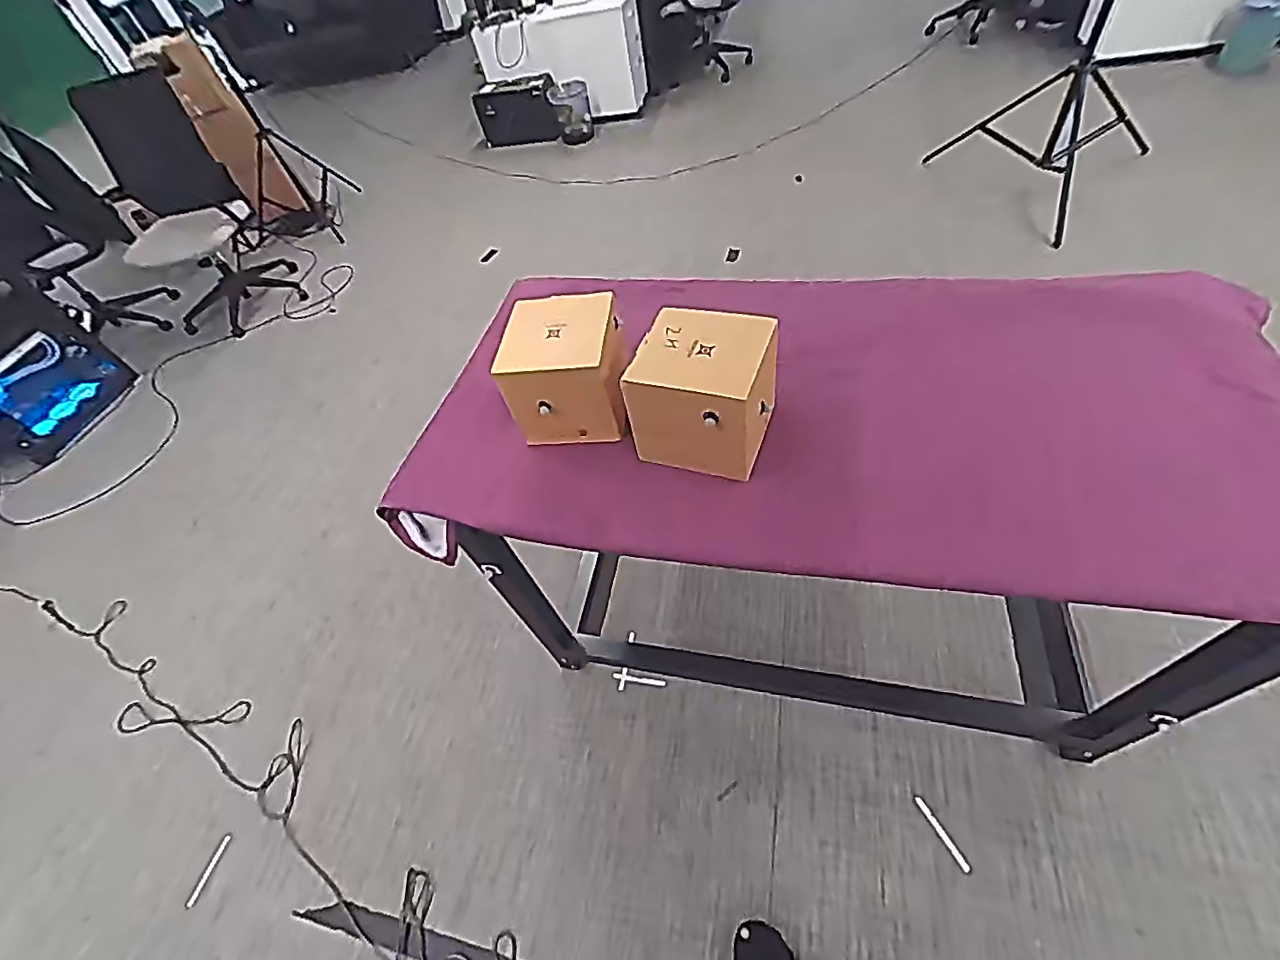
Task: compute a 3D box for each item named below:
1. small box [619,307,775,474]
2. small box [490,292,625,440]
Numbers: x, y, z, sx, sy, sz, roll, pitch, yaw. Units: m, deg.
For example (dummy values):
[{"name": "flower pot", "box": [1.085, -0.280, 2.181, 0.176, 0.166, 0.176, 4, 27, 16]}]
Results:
[{"name": "small box", "box": [0.092, -0.129, 0.800, 0.179, 0.176, 0.168, 12, 55, 21]}, {"name": "small box", "box": [-0.119, -0.177, 0.884, 0.168, 0.176, 0.179, -3, 53, 11]}]
